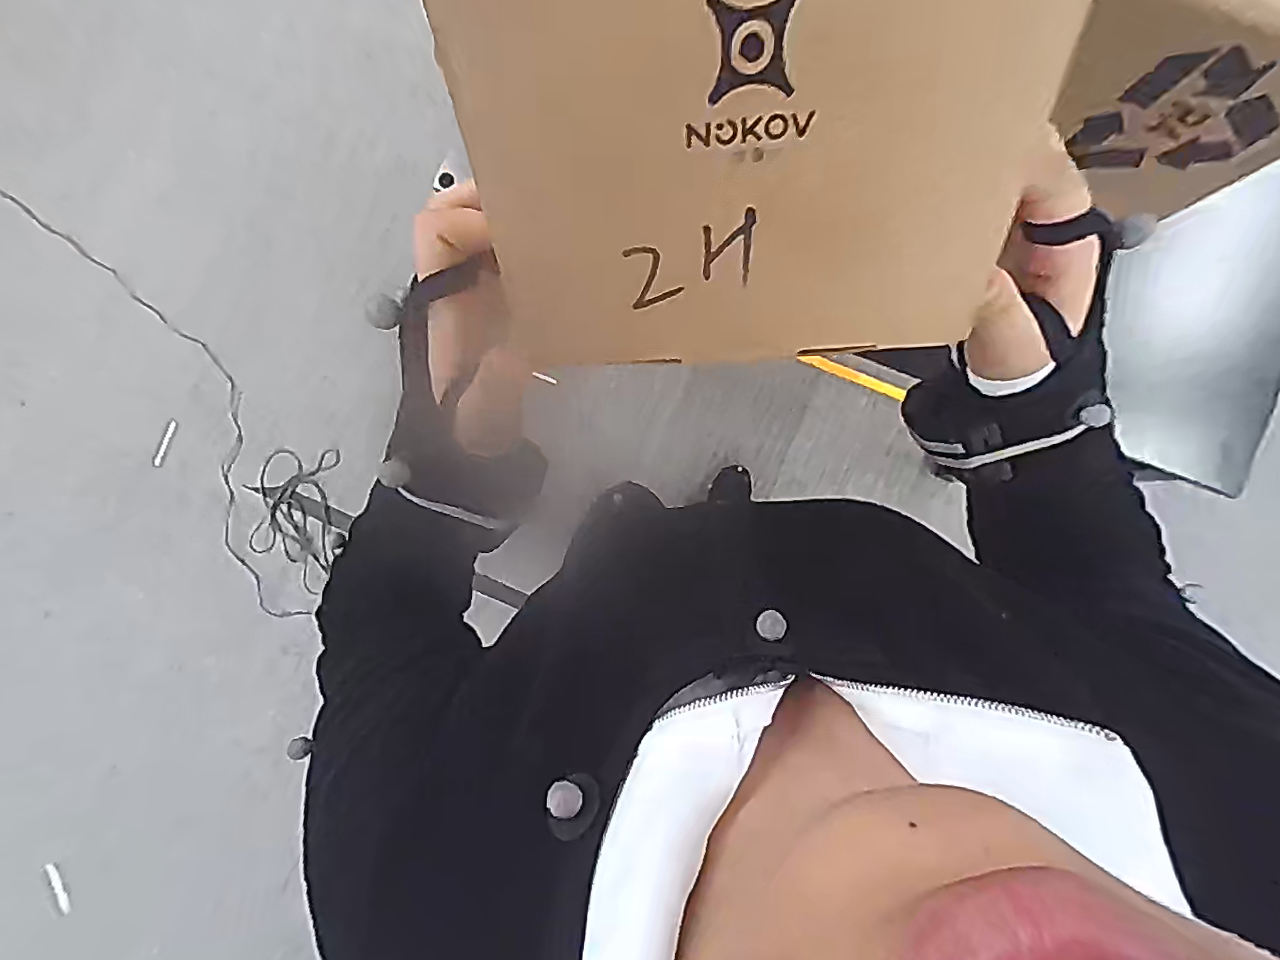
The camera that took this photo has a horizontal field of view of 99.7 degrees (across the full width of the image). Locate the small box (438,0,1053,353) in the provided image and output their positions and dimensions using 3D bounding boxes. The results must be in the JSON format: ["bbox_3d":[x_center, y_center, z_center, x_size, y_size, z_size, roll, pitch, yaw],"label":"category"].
[{"bbox_3d":[0.031,-0.173,0.212,0.168,0.176,0.179,-2,134,6],"label":"small box"}]
